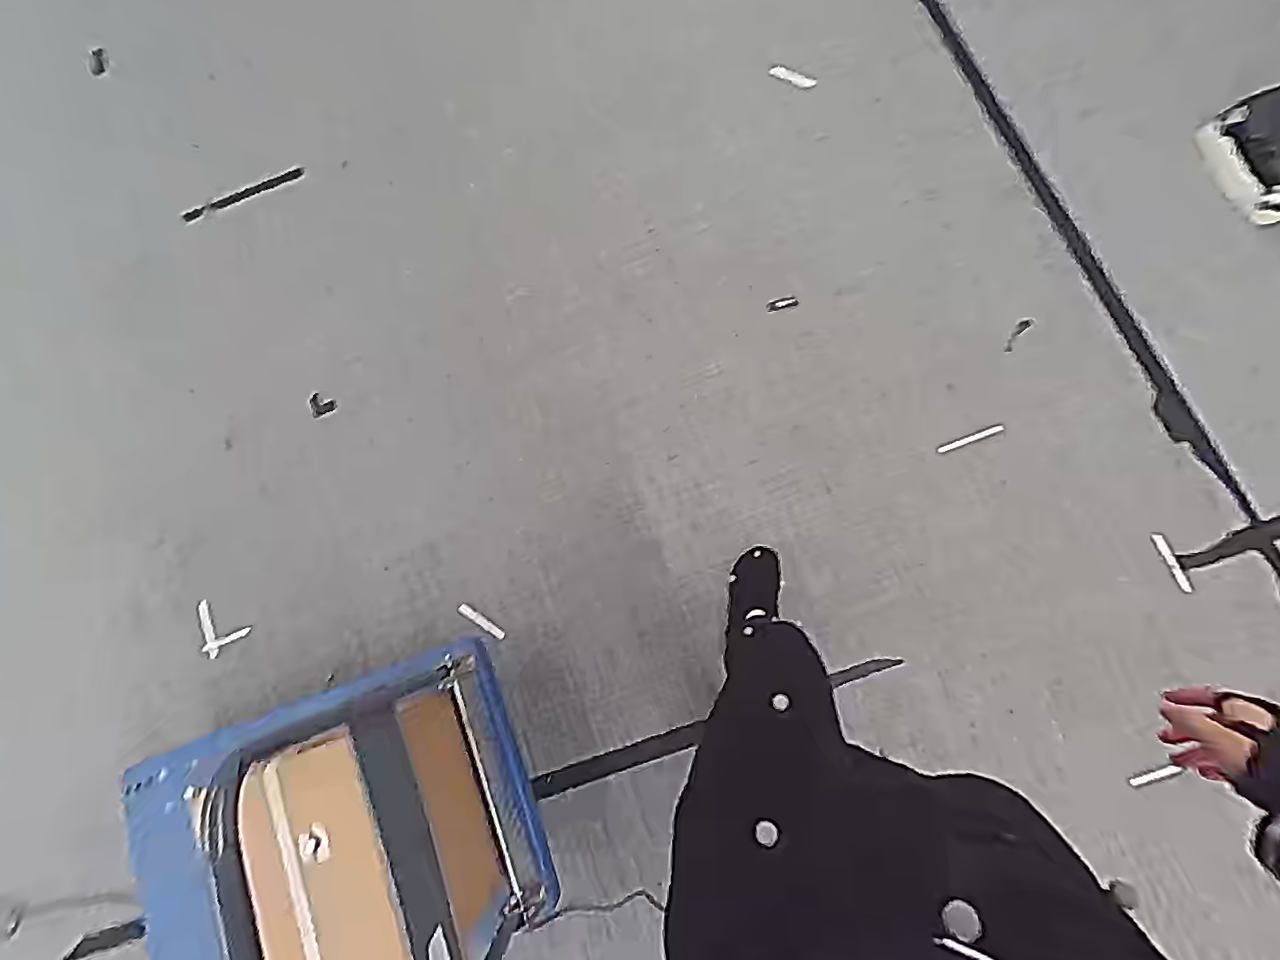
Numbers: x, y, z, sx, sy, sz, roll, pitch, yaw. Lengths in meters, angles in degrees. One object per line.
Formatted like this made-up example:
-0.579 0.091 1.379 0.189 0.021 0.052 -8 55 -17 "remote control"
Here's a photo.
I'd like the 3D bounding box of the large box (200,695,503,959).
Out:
-0.501 0.674 0.996 0.320 0.320 0.408 -21 79 2 "large box"
